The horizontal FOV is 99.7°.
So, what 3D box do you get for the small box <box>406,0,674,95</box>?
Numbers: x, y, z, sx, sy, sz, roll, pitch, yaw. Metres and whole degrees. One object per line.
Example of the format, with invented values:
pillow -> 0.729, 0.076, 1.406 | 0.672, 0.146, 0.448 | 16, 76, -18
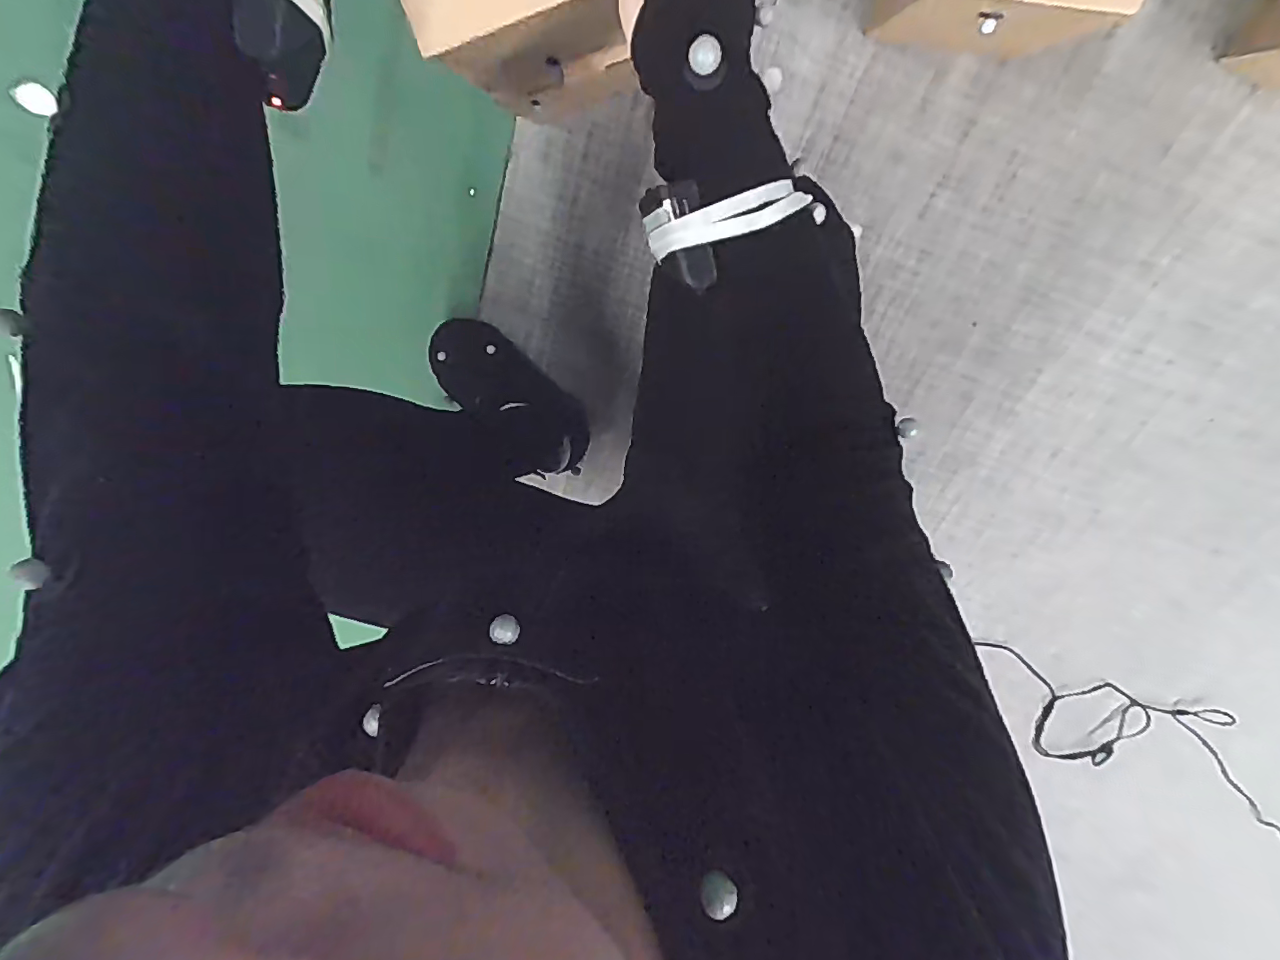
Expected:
small box -> -0.075, -0.396, 0.365 | 0.168, 0.176, 0.179 | -12, 118, 10
